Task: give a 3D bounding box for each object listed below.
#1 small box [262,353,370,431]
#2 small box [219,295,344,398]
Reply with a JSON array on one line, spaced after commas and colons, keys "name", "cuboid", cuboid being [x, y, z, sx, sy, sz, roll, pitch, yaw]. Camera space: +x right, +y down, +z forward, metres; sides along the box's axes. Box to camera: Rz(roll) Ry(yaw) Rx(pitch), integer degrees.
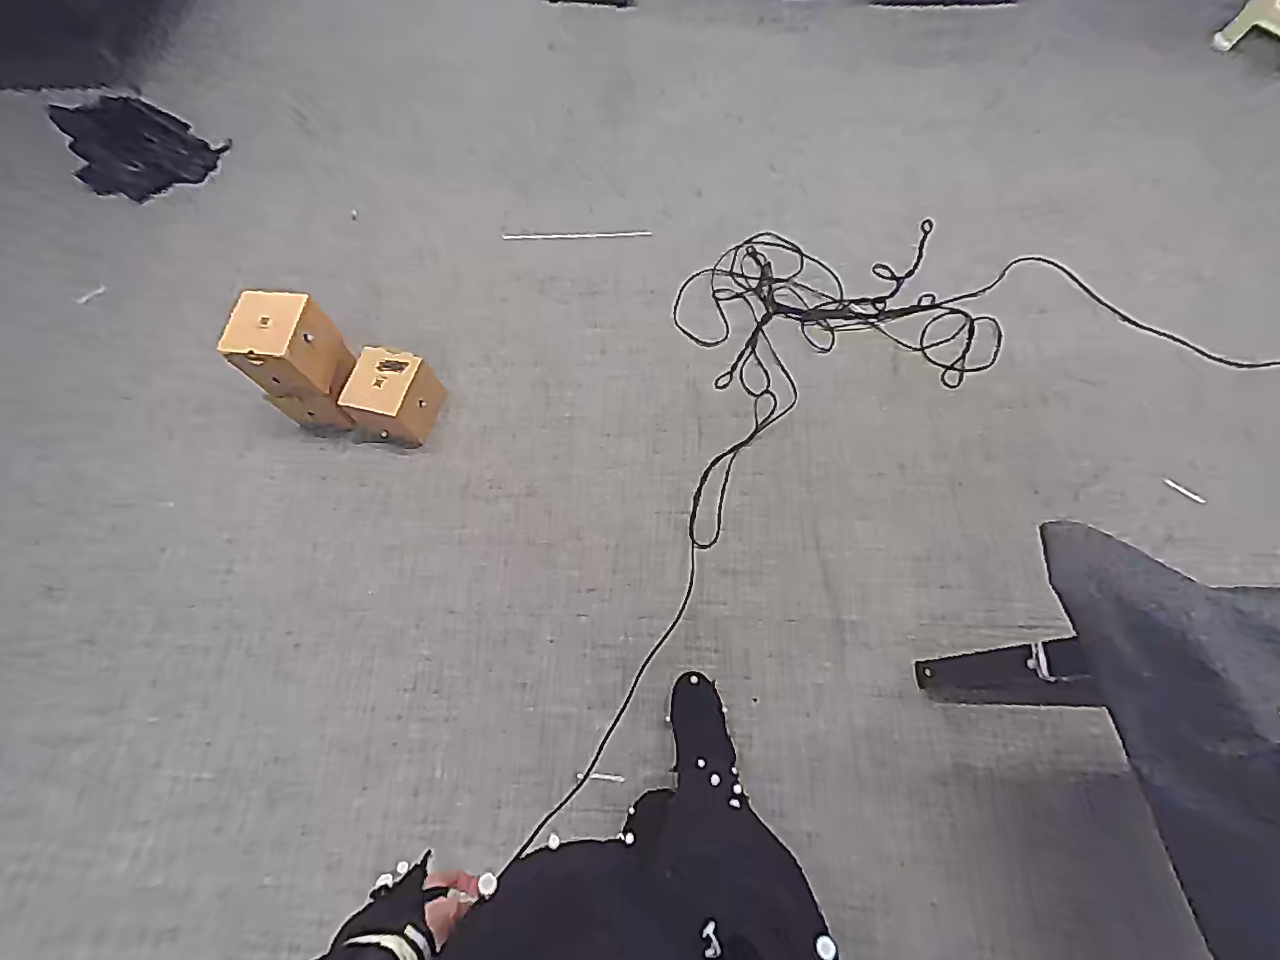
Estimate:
[{"name": "small box", "cuboid": [-0.863, -0.246, 1.460, 0.168, 0.176, 0.179, 4, 69, 5]}, {"name": "small box", "cuboid": [-0.857, -0.321, 1.314, 0.168, 0.176, 0.179, 4, 68, 4]}]
